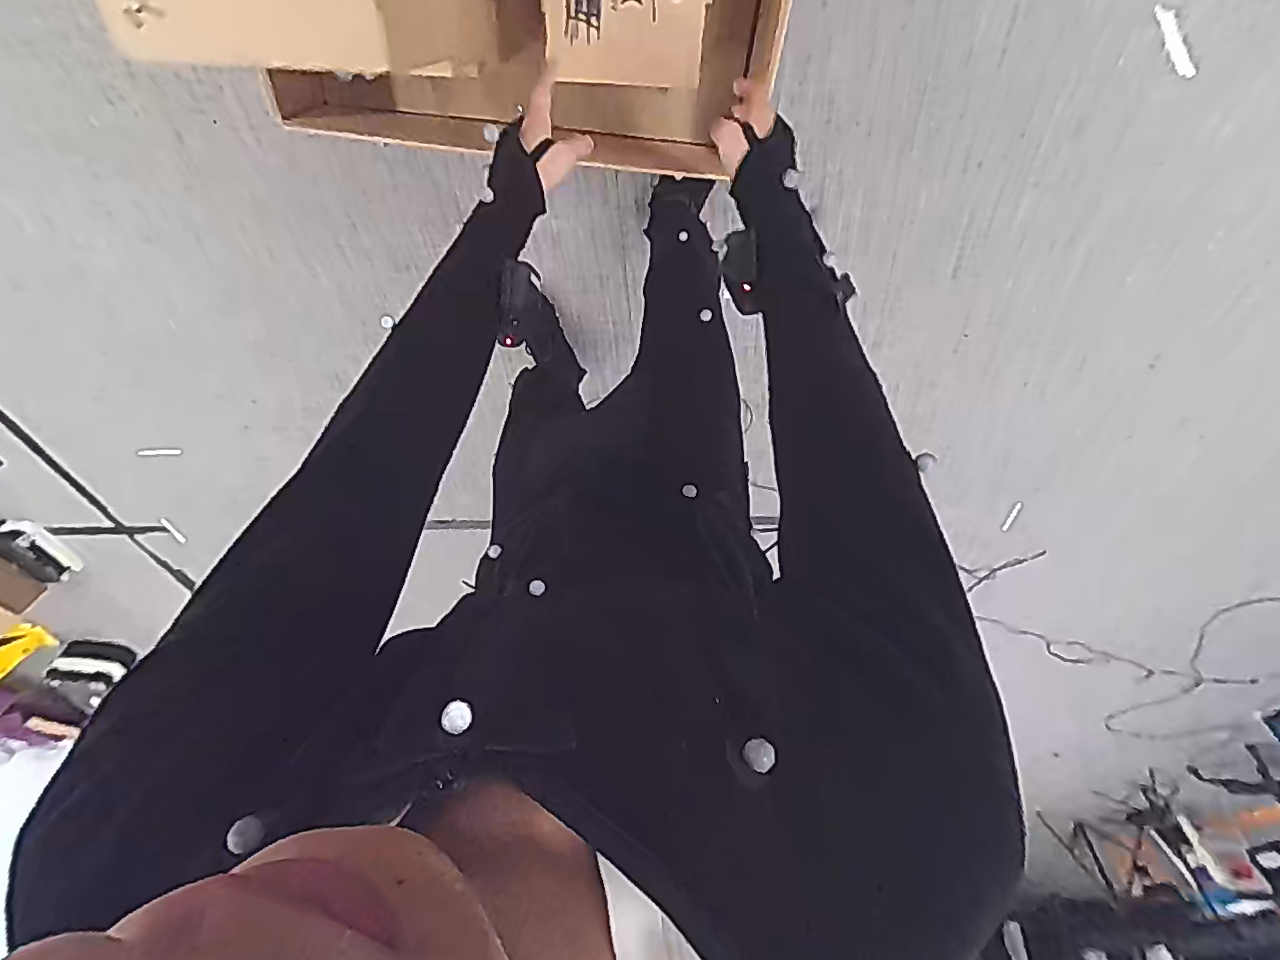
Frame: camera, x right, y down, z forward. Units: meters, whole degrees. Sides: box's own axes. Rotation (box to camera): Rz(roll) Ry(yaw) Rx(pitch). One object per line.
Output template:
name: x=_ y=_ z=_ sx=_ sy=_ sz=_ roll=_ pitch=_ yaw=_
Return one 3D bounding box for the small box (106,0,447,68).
small box: x=-0.240 y=-0.389 z=0.357 sx=0.179 sy=0.176 sz=0.168 roll=2 pitch=131 yaw=-2

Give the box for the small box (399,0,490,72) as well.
small box: x=-0.240 y=-0.491 z=0.485 sx=0.168 sy=0.176 sz=0.179 roll=3 pitch=131 yaw=-3
